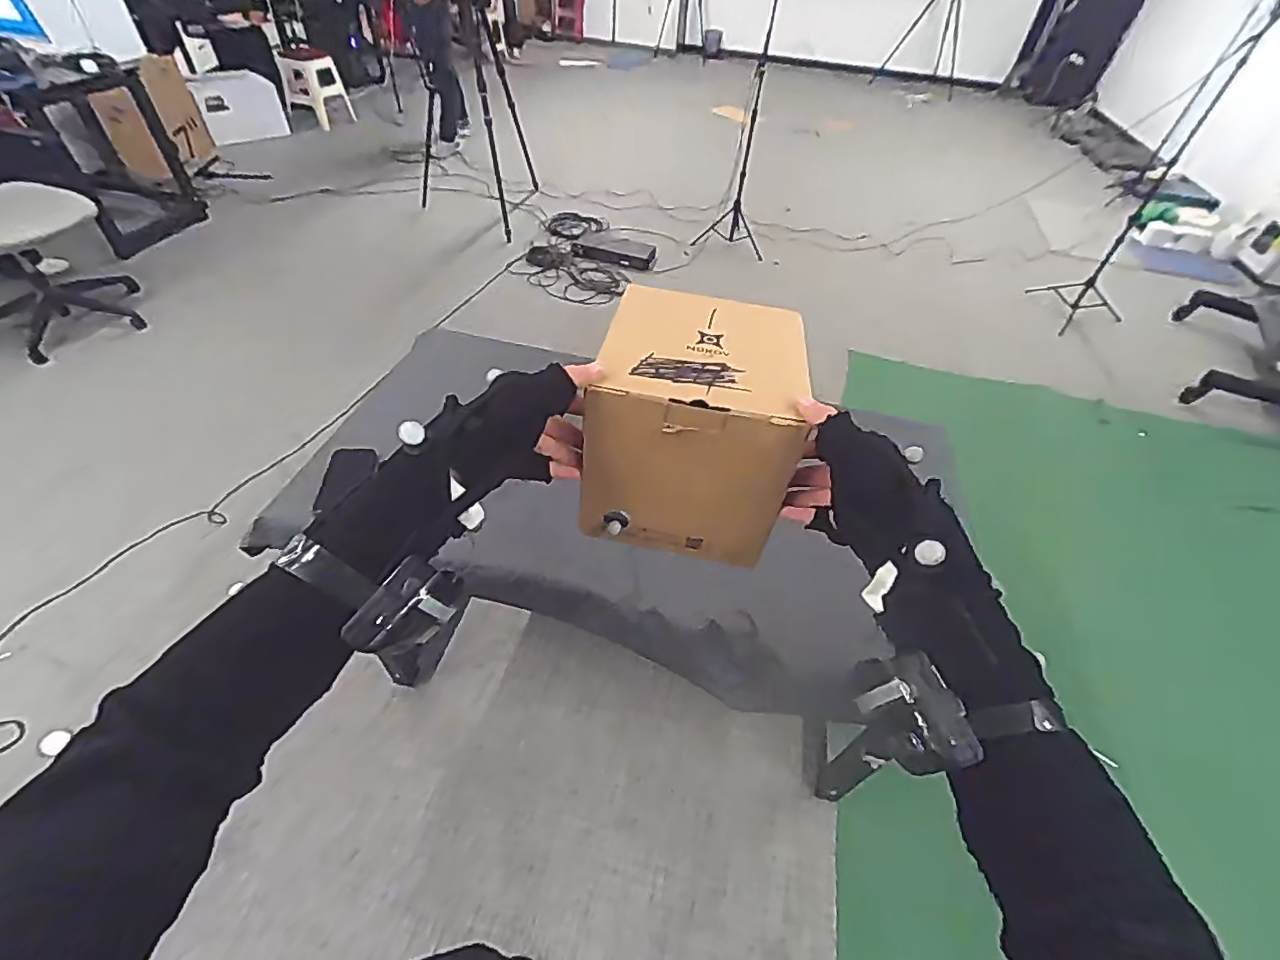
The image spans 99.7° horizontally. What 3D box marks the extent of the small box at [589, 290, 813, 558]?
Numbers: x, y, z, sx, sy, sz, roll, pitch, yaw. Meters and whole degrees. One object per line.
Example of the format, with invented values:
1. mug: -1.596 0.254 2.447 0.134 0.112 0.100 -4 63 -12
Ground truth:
1. small box: 0.051 -0.051 0.503 0.168 0.176 0.179 10 43 3
